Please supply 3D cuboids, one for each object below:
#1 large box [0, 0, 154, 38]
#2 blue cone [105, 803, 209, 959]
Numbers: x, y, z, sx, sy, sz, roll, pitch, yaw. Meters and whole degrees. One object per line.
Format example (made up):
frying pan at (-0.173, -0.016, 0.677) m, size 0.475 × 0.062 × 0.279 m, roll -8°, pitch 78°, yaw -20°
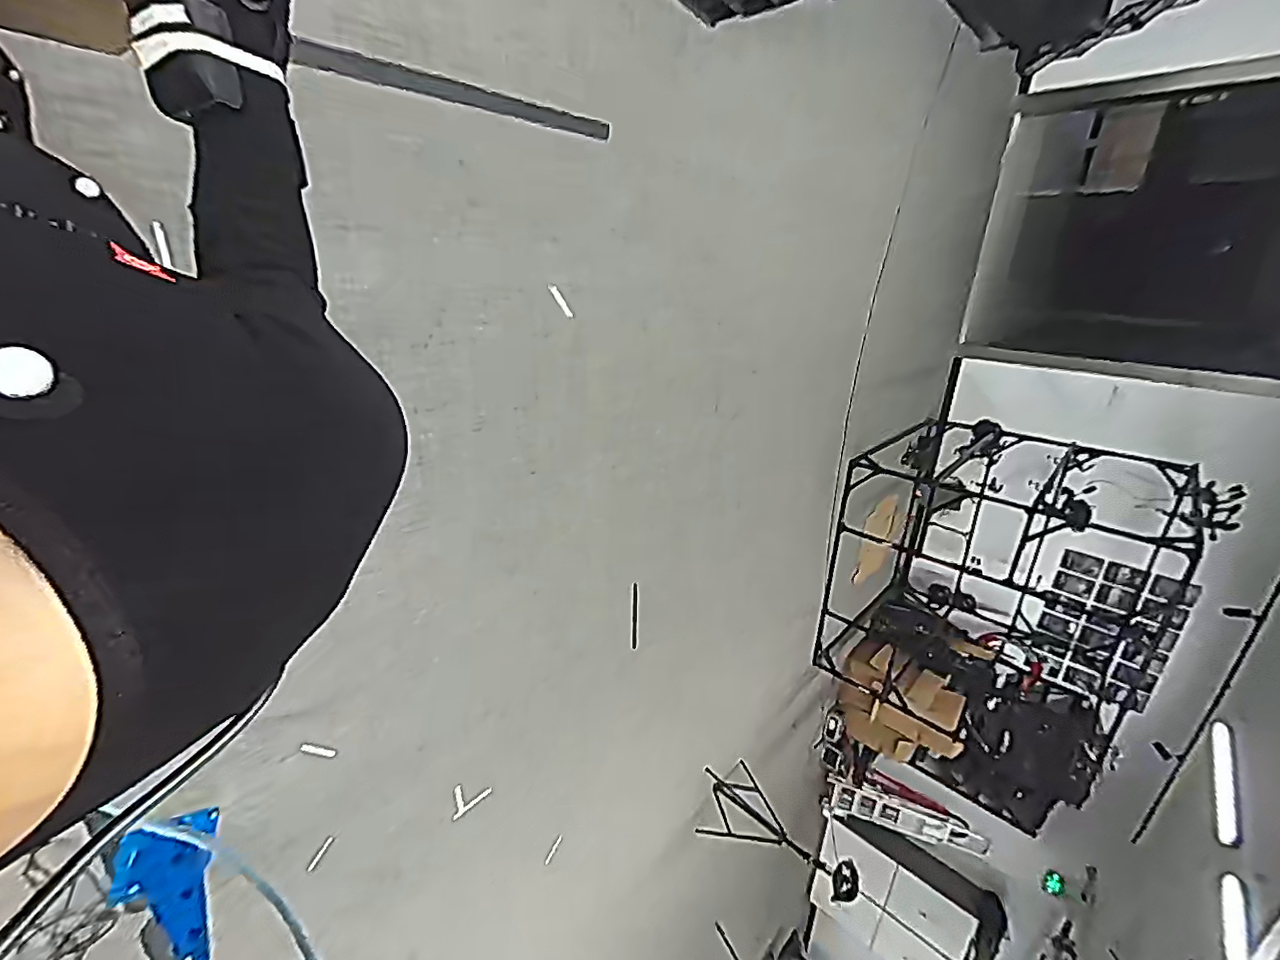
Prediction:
large box at (-0.544, -0.485, 0.263) m, size 0.408 × 0.320 × 0.320 m, roll -20°, pitch 126°, yaw -45°
blue cone at (-1.107, 0.983, 1.278) m, size 0.193 × 0.380 × 0.192 m, roll 10°, pitch 98°, yaw -51°
